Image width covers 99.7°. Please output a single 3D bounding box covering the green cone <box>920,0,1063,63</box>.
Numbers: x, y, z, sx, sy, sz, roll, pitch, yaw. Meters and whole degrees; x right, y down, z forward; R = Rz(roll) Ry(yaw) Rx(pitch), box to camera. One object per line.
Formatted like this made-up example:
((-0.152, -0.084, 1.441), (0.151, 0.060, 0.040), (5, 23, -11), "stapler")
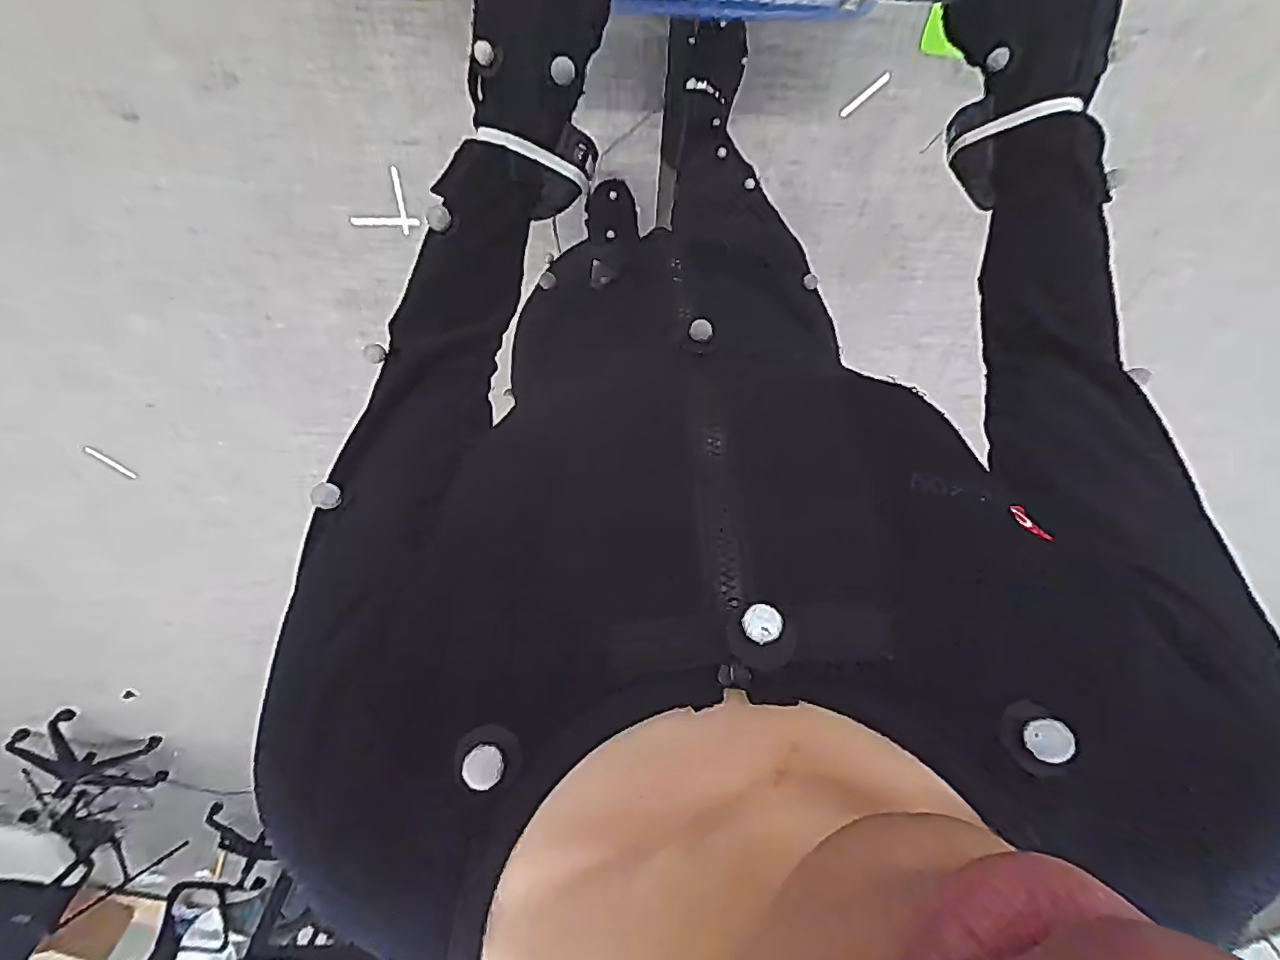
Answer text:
((0.661, -0.823, 0.887), (0.202, 0.368, 0.200), (4, 127, -6), "green cone")
